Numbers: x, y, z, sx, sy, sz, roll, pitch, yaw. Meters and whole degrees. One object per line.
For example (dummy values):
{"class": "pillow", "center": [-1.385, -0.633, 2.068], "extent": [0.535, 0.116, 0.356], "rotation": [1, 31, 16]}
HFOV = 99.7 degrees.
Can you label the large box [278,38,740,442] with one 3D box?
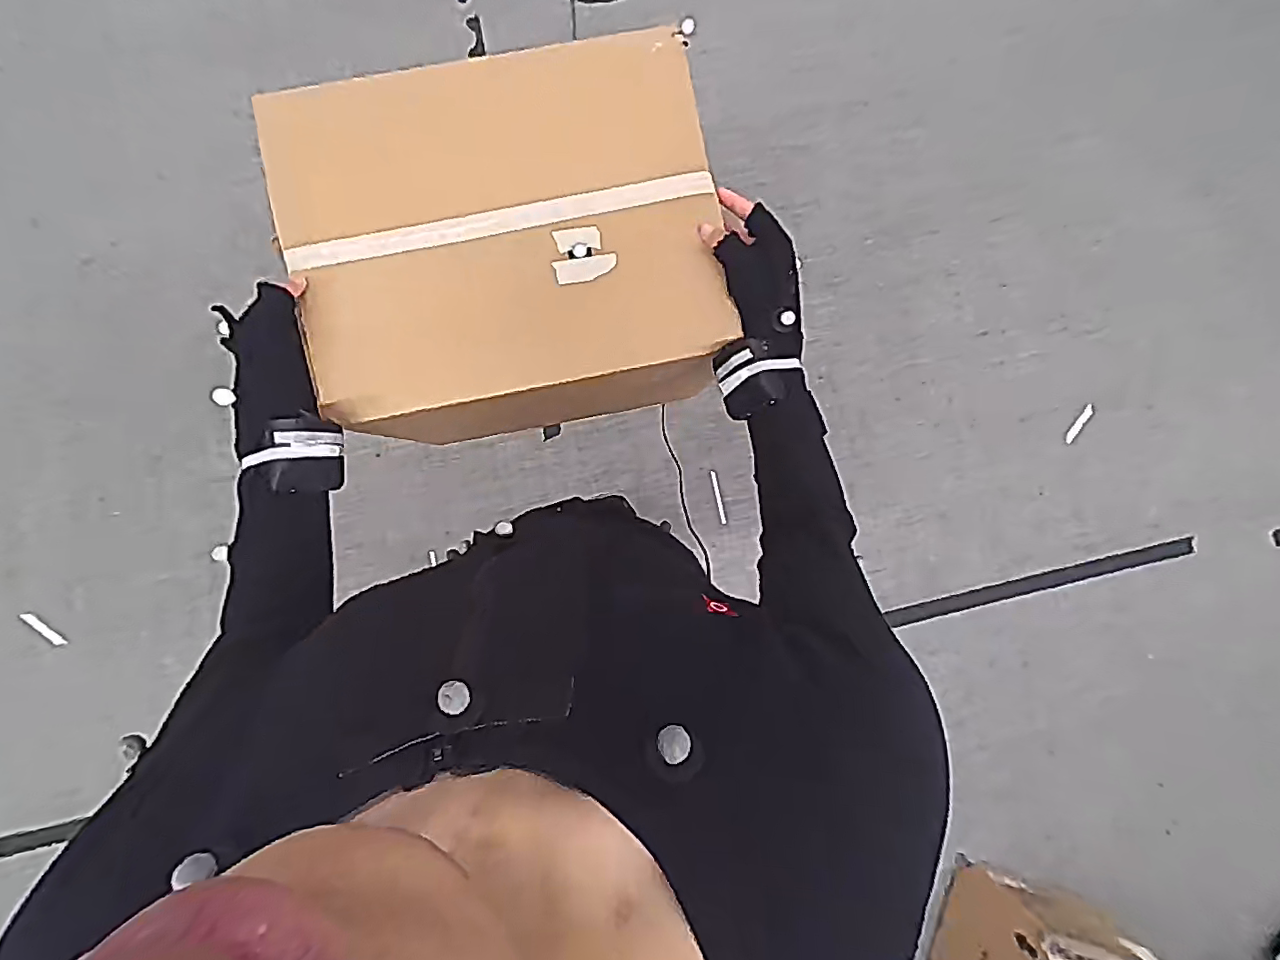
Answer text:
{"class": "large box", "center": [-0.132, -0.246, 0.675], "extent": [0.408, 0.320, 0.320], "rotation": [-12, 91, -3]}
